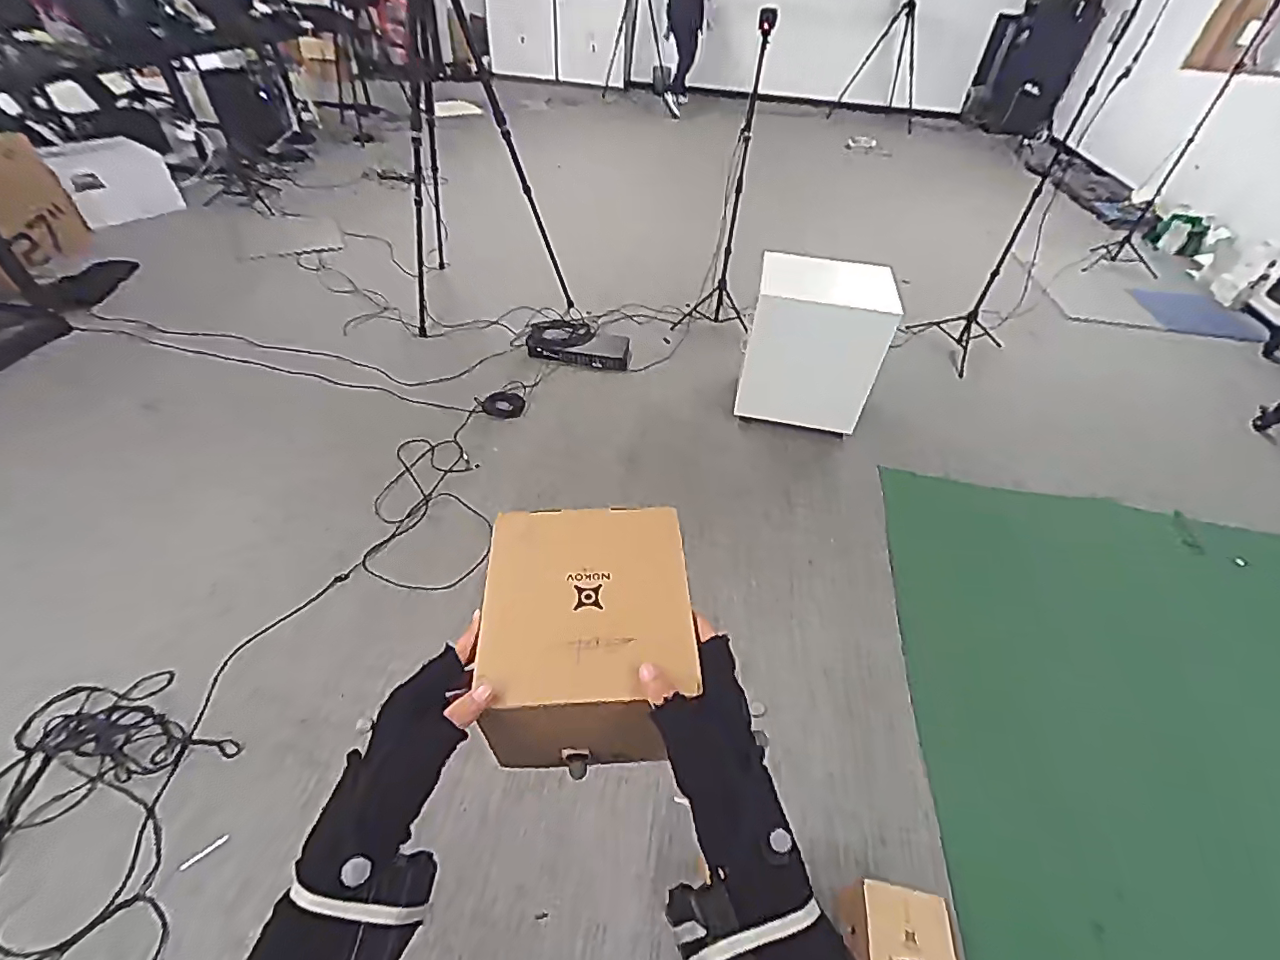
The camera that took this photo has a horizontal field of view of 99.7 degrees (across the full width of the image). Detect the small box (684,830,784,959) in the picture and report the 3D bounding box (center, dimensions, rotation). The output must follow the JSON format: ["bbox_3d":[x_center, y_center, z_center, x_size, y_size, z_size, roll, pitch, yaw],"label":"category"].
[{"bbox_3d":[0.194,0.878,1.136,0.168,0.176,0.179,14,46,8],"label":"small box"}]

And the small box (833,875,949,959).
[{"bbox_3d":[0.505,0.943,1.101,0.168,0.176,0.179,11,45,5],"label":"small box"}]
